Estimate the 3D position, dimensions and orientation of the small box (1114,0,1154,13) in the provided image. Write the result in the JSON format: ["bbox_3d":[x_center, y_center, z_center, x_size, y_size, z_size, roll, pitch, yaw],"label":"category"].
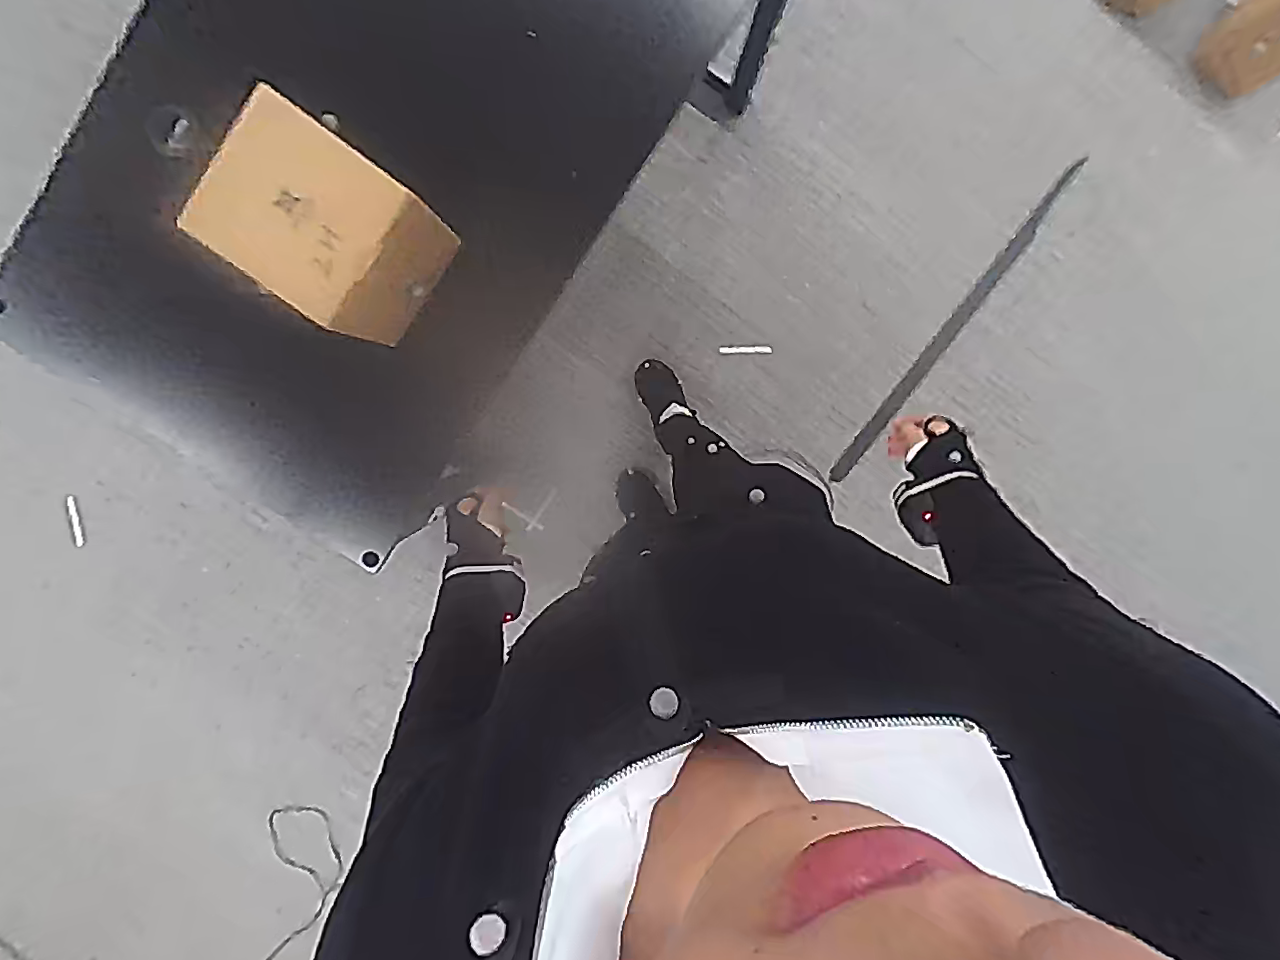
[{"bbox_3d":[1.213,-1.261,1.261,0.168,0.176,0.179,28,97,-5],"label":"small box"}]

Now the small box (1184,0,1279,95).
[{"bbox_3d":[1.488,-1.081,1.295,0.179,0.176,0.168,37,96,-7],"label":"small box"}]

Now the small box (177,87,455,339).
[{"bbox_3d":[-0.348,-0.280,0.619,0.179,0.176,0.168,36,96,-6],"label":"small box"}]
